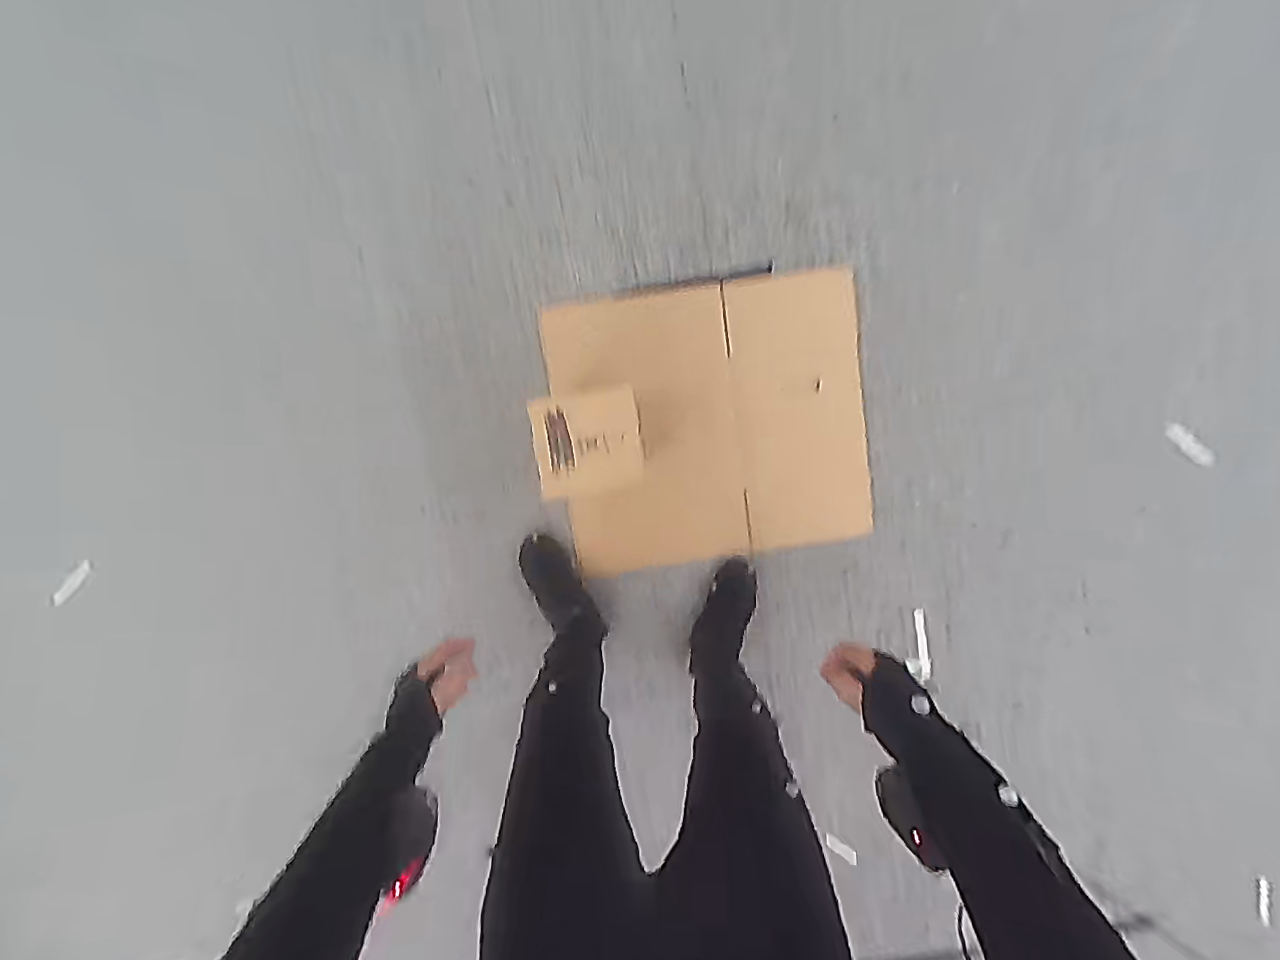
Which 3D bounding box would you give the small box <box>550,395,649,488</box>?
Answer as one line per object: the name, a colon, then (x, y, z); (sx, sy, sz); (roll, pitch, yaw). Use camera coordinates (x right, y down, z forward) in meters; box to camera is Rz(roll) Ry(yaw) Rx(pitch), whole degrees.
small box: (-0.083, -0.087, 1.134); (0.179, 0.176, 0.168); (-8, 98, -1)
